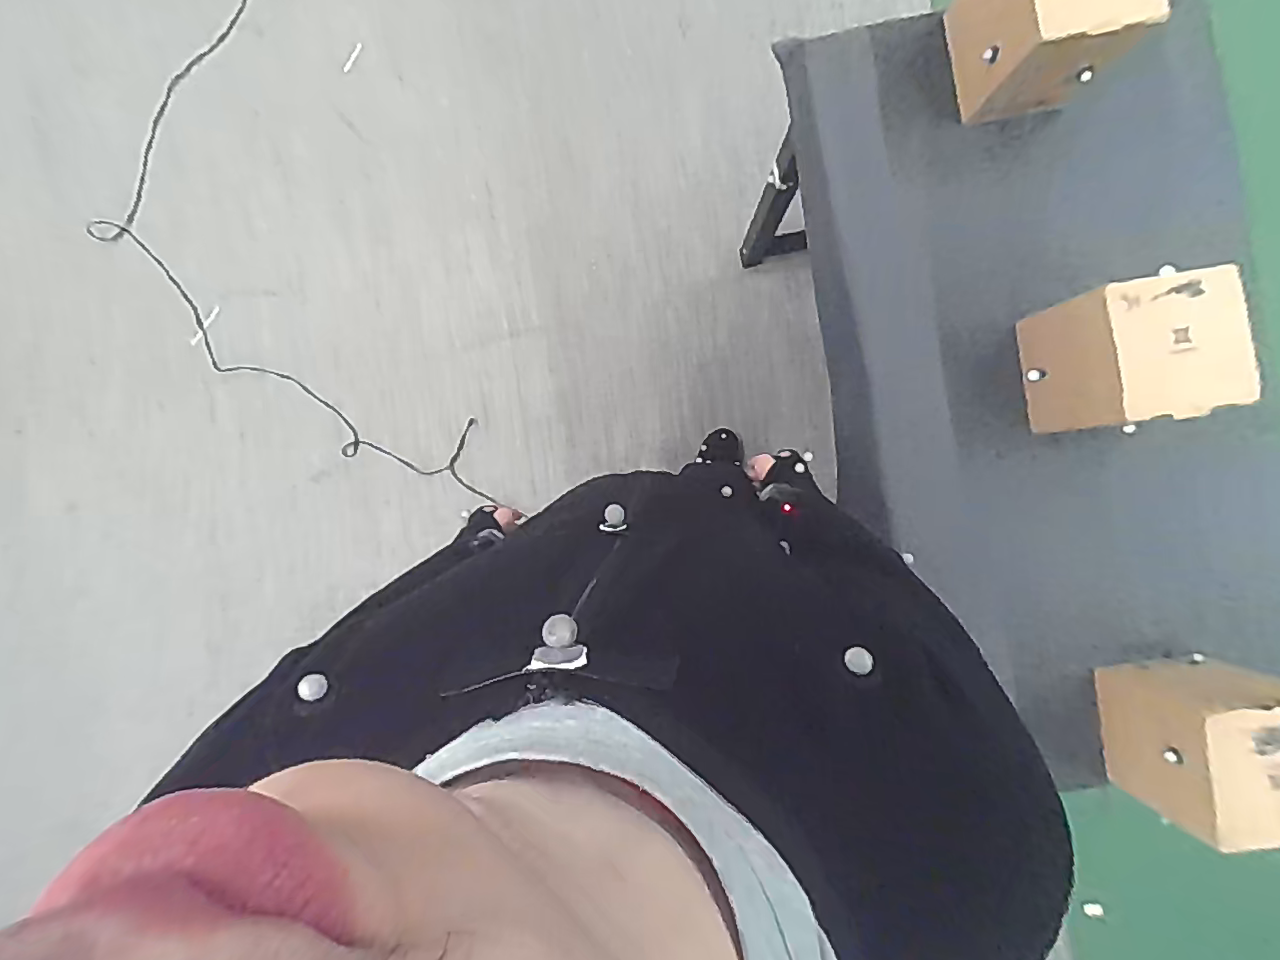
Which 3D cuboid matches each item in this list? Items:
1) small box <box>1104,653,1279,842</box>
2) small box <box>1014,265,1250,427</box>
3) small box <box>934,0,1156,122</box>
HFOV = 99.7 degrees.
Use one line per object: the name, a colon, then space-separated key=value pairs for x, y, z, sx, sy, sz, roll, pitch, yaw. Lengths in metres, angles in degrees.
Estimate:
small box: x=0.795 y=0.352 z=0.749 sx=0.168 sy=0.176 sz=0.179 roll=-8 pitch=90 yaw=-1
small box: x=0.668 y=-0.172 z=0.755 sx=0.168 sy=0.176 sz=0.179 roll=-10 pitch=90 yaw=-2
small box: x=0.550 y=-0.639 z=0.758 sx=0.168 sy=0.176 sz=0.179 roll=-12 pitch=89 yaw=-3
